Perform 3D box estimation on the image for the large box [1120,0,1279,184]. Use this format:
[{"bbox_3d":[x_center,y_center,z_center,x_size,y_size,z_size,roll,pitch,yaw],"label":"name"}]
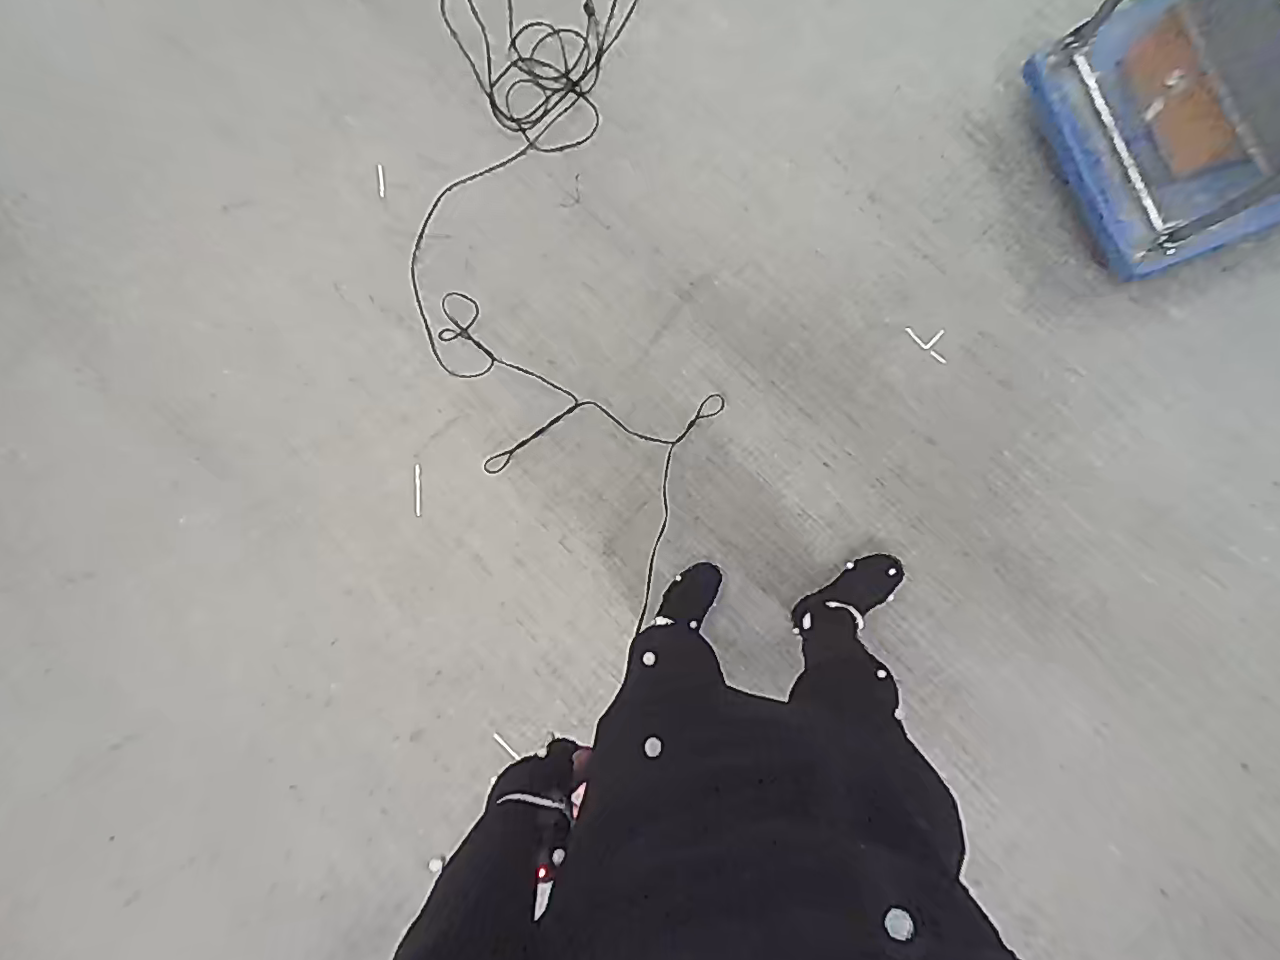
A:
[{"bbox_3d":[1.281,-0.854,1.030,0.408,0.320,0.320,-19,86,3],"label":"large box"}]
